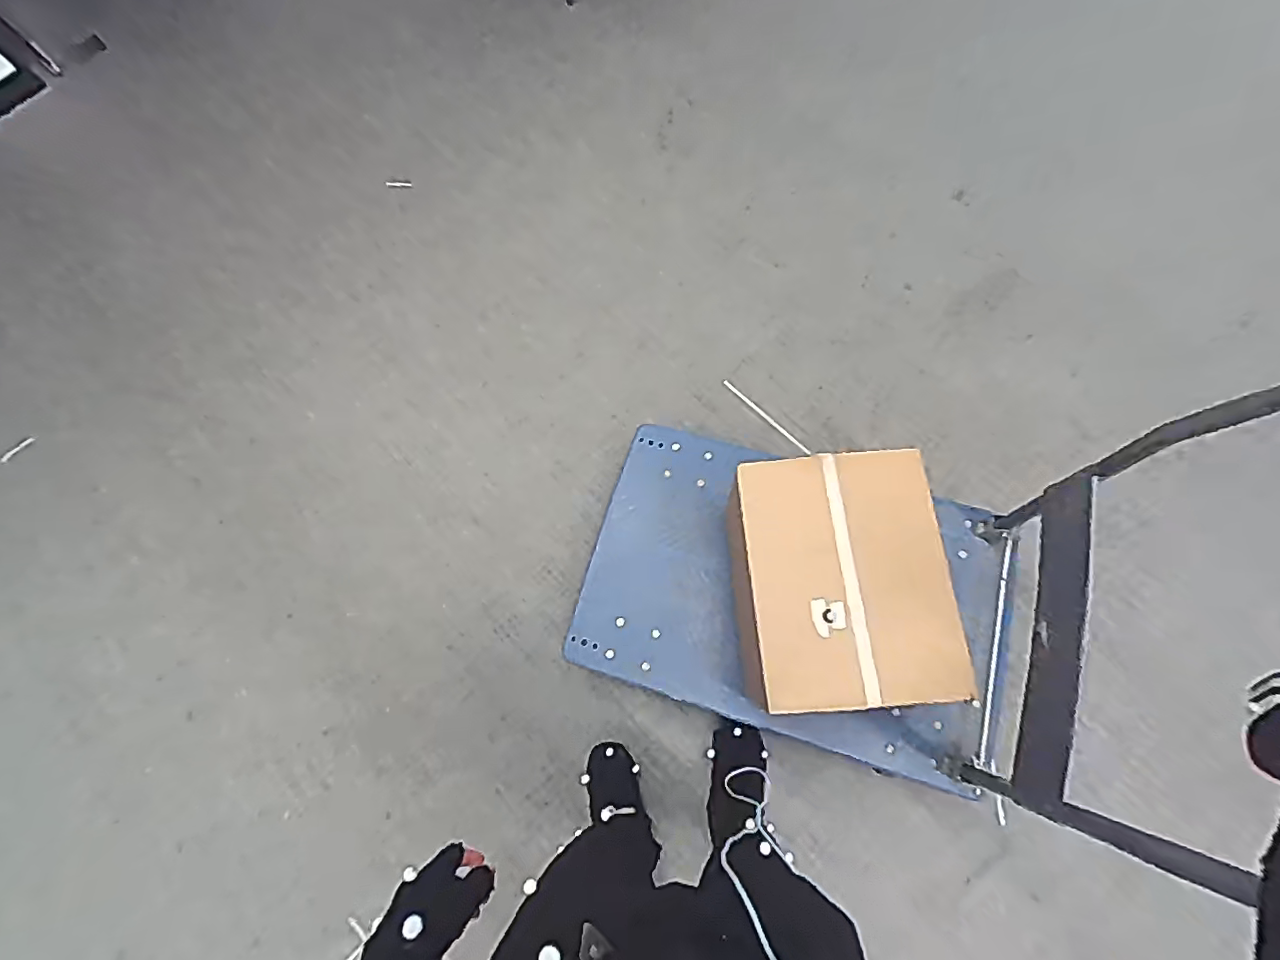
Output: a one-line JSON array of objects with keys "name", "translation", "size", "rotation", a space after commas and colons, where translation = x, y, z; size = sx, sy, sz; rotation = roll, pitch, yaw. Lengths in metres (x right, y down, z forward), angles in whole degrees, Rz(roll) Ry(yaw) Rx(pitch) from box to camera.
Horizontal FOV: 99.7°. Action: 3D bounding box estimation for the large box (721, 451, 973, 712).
[{"name": "large box", "translation": [0.344, 0.195, 1.023], "size": [0.320, 0.320, 0.408], "rotation": [-6, 72, 3]}]
